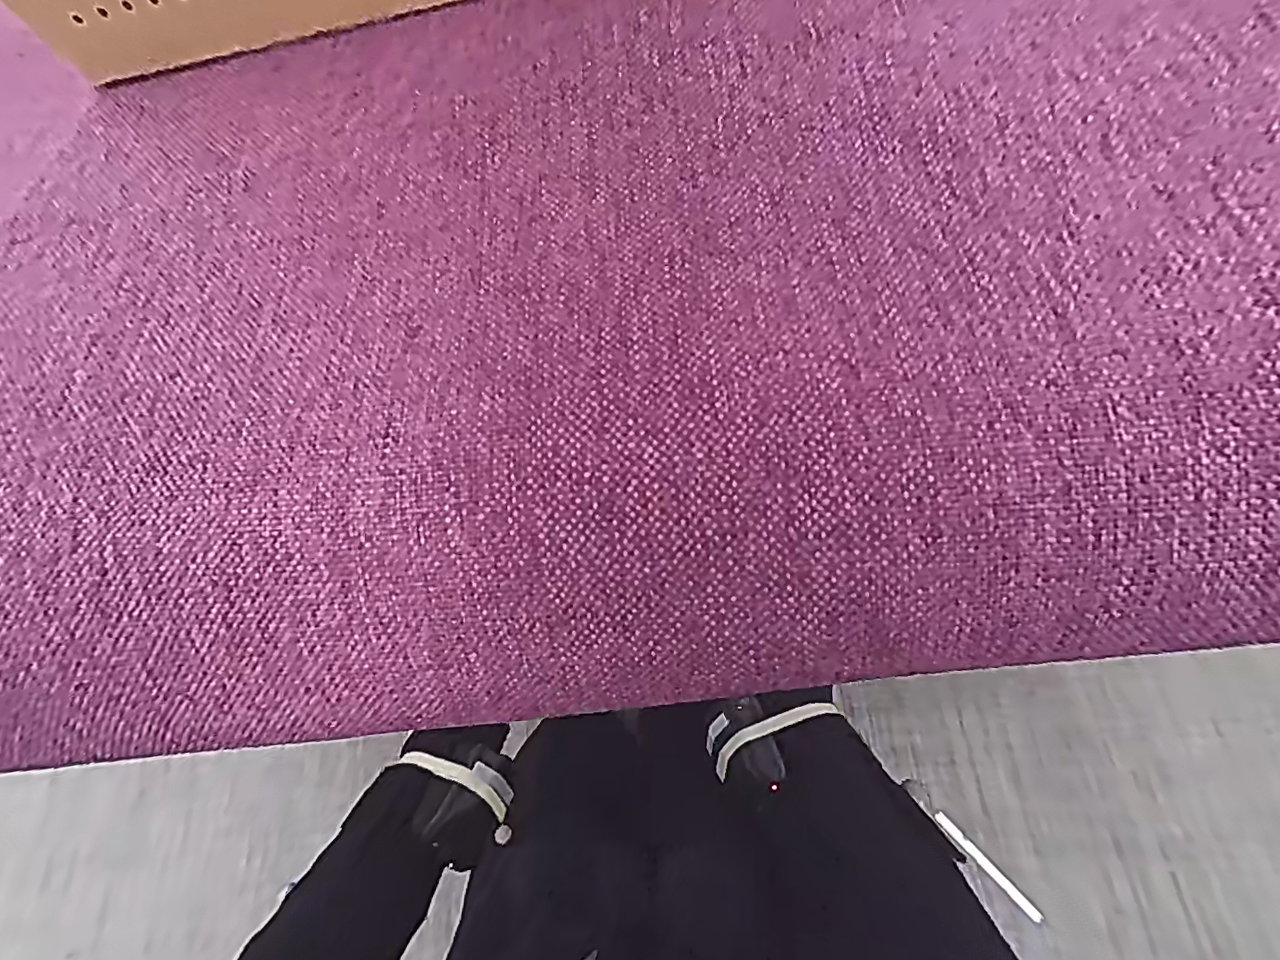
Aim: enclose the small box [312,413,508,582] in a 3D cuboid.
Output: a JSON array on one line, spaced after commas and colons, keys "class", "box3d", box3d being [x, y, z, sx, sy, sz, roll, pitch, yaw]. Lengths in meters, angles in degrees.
[{"class": "small box", "box3d": [-0.276, 0.032, 0.690, 0.179, 0.176, 0.168, -8, 72, 5]}]
